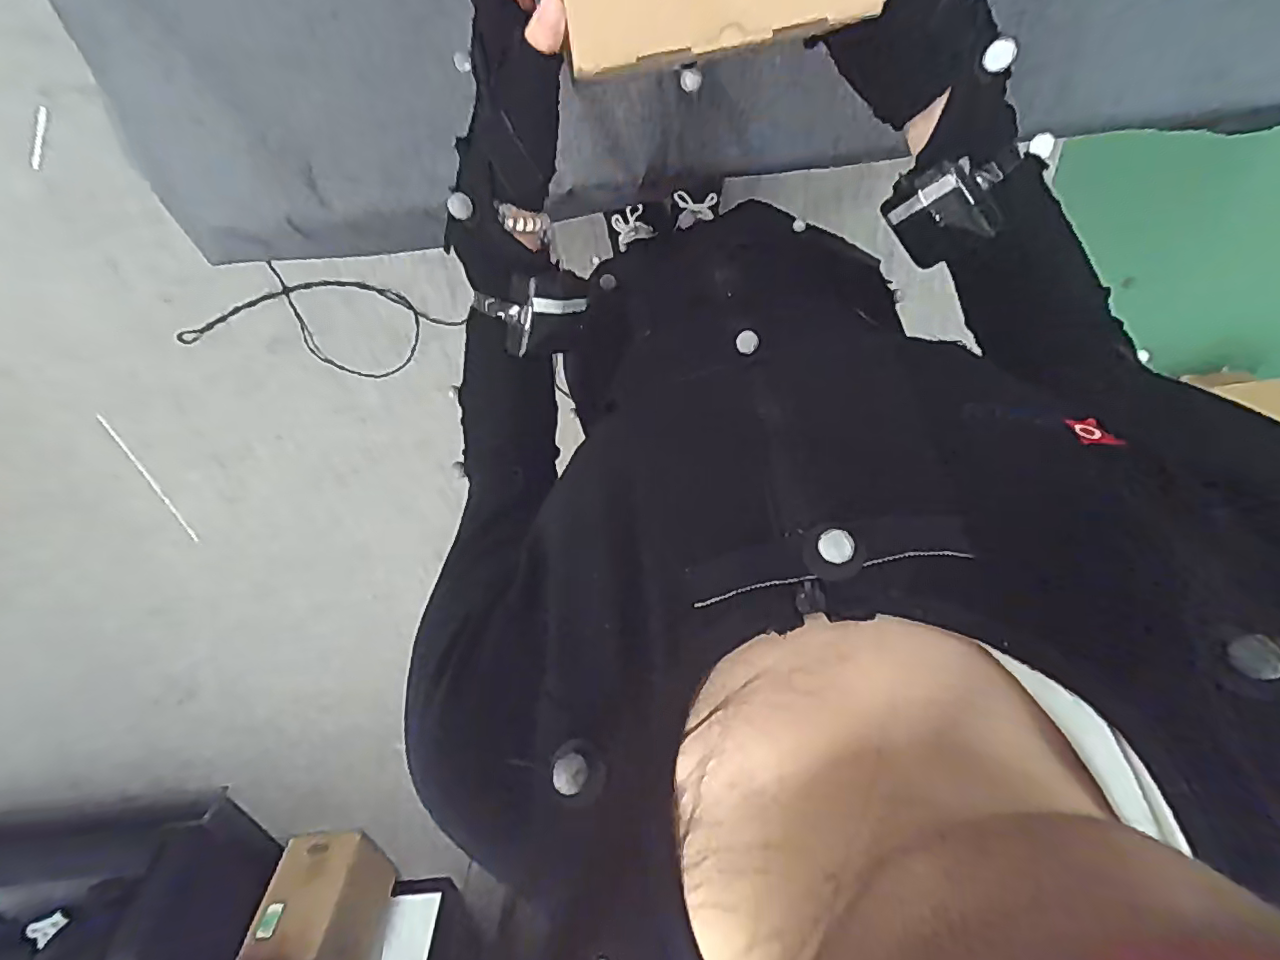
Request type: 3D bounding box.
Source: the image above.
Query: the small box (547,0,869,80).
[{"bbox_3d":[0.018,-0.346,0.297,0.168,0.176,0.179,-11,124,0],"label":"small box"}]
